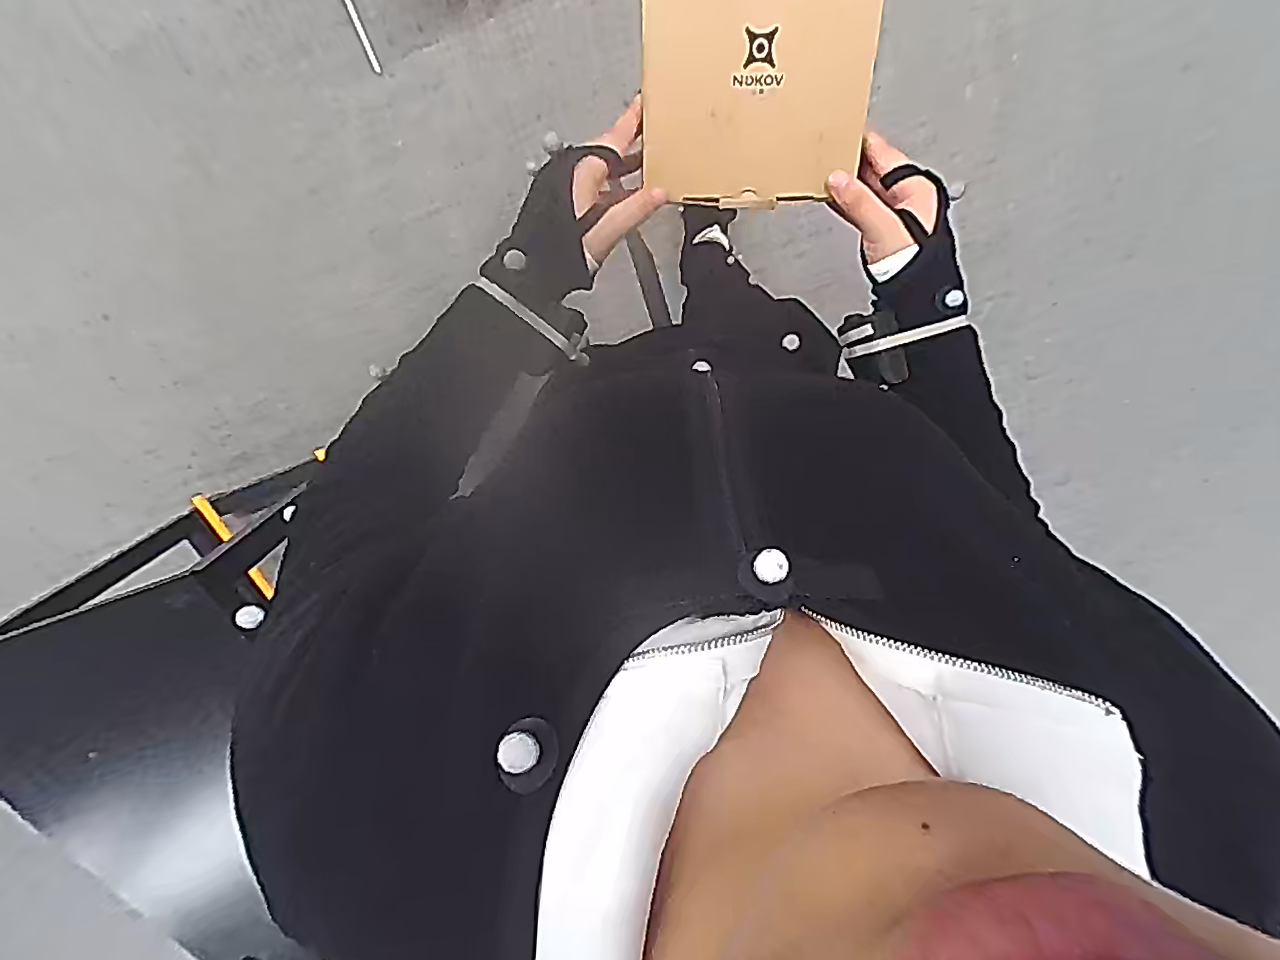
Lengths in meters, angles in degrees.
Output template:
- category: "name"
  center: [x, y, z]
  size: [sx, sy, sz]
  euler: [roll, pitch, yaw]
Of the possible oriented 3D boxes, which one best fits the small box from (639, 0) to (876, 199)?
- category: "small box"
  center: [0.083, -0.342, 0.460]
  size: [0.168, 0.176, 0.179]
  euler: [-1, 118, 0]
